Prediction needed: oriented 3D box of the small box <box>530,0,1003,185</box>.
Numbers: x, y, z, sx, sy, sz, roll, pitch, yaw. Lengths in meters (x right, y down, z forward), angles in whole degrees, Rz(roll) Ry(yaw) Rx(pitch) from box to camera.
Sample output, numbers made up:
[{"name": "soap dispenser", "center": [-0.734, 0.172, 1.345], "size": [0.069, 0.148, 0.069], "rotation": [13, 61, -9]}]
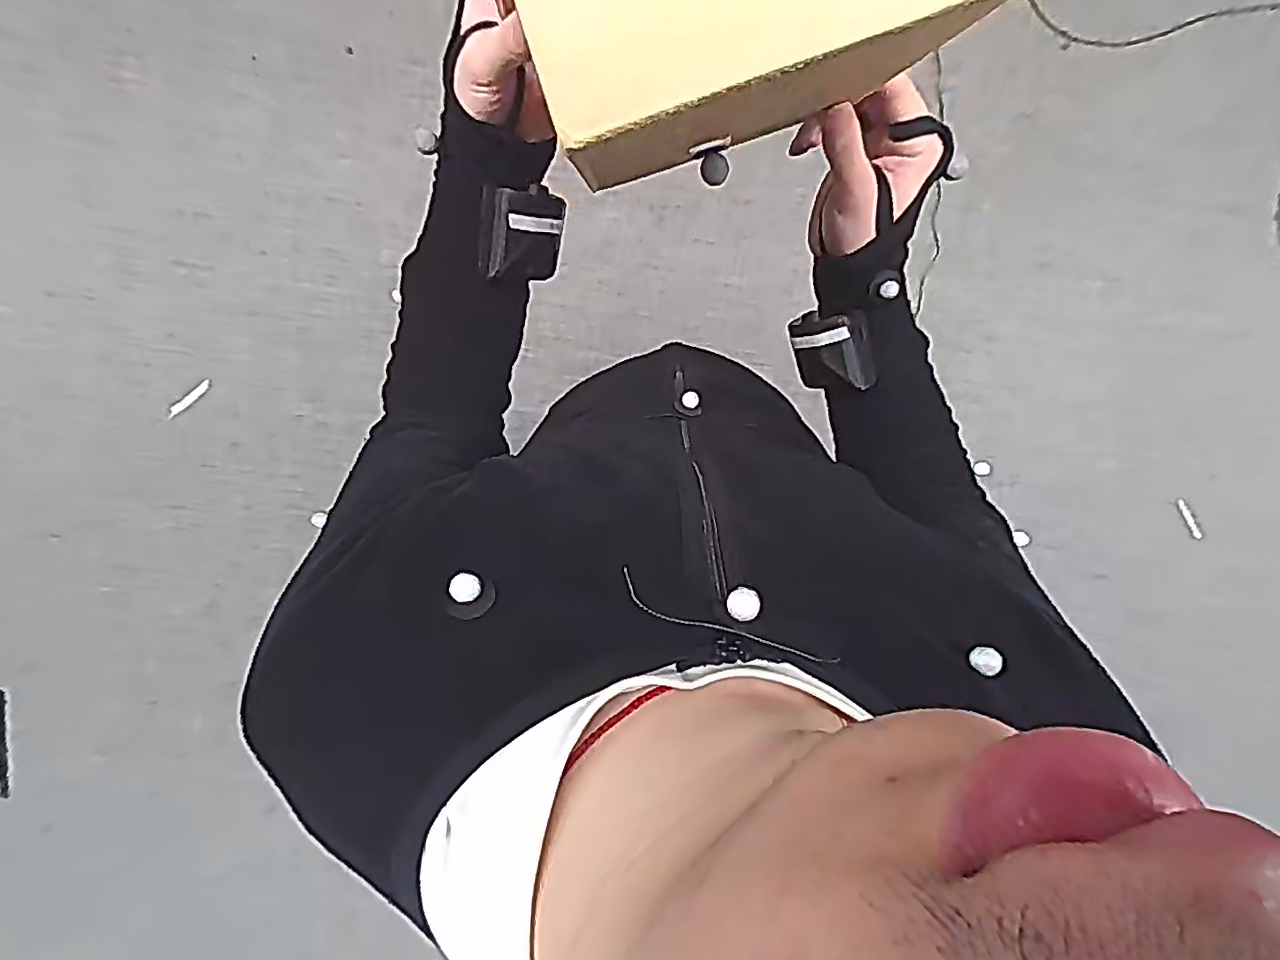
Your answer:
[{"name": "small box", "center": [0.027, -0.251, 0.230], "size": [0.168, 0.176, 0.179], "rotation": [-16, 113, 6]}]
